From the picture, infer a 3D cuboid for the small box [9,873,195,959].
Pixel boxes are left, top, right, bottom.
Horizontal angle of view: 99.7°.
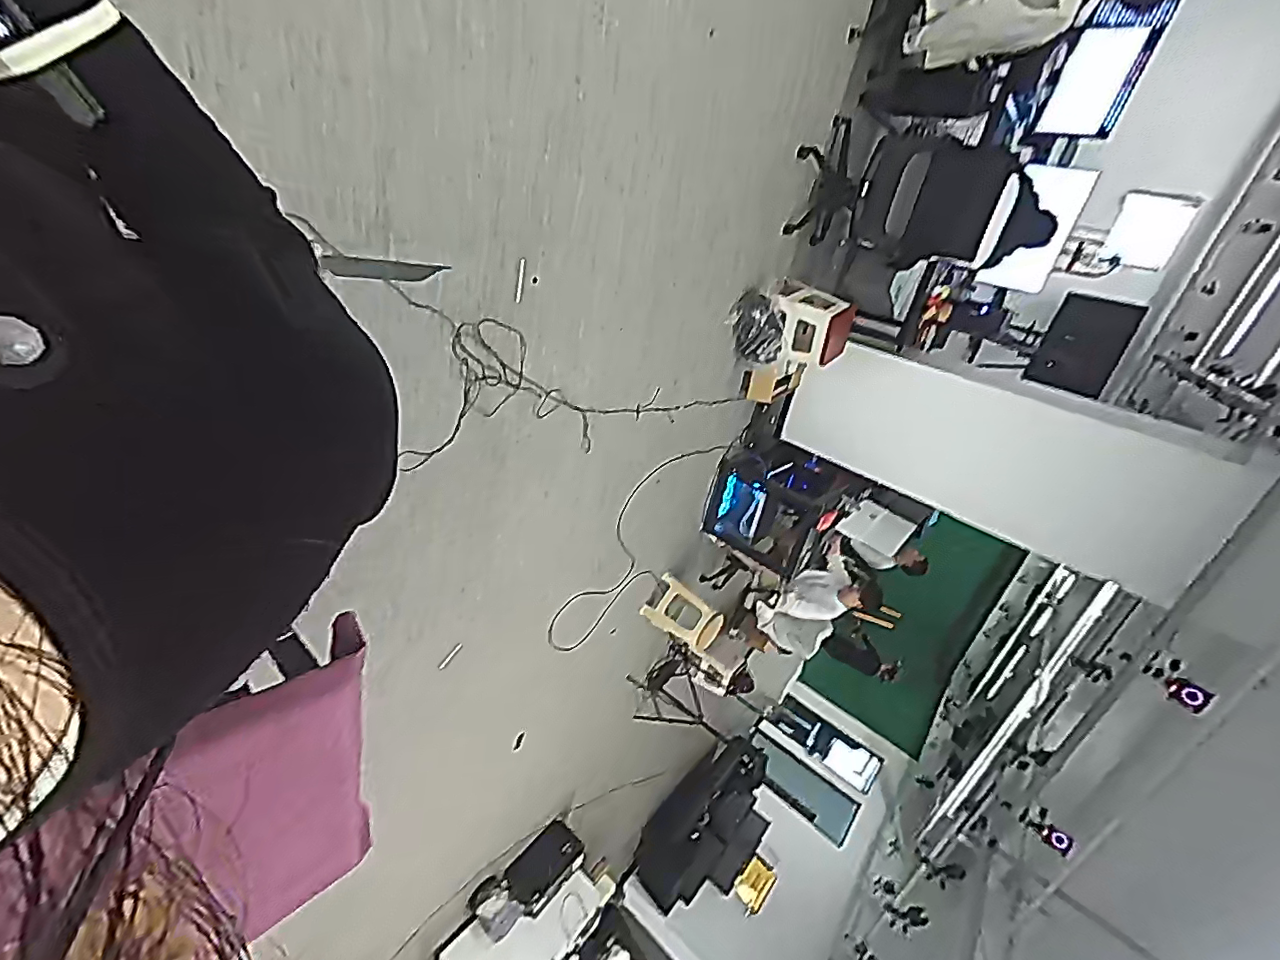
[{"bbox_3d":[-0.784,0.739,0.801,0.168,0.176,0.179,-19,131,-49],"label":"small box"}]
